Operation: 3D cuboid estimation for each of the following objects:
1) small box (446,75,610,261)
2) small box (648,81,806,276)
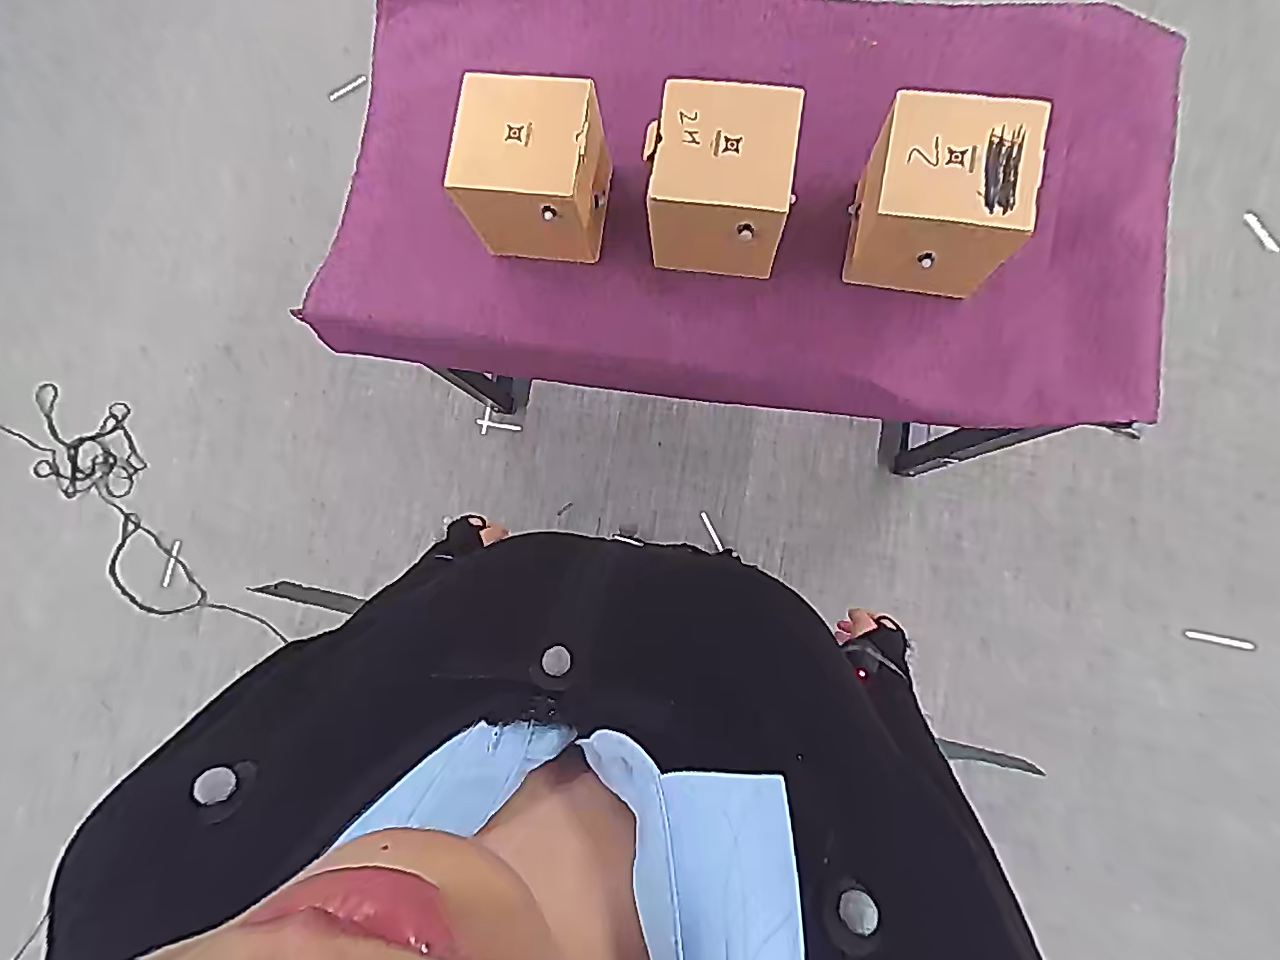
[{"bbox_3d":[-0.148,-0.435,0.776,0.179,0.176,0.168,7,84,5],"label":"small box"},{"bbox_3d":[0.115,-0.401,0.745,0.179,0.176,0.168,8,83,7],"label":"small box"}]
